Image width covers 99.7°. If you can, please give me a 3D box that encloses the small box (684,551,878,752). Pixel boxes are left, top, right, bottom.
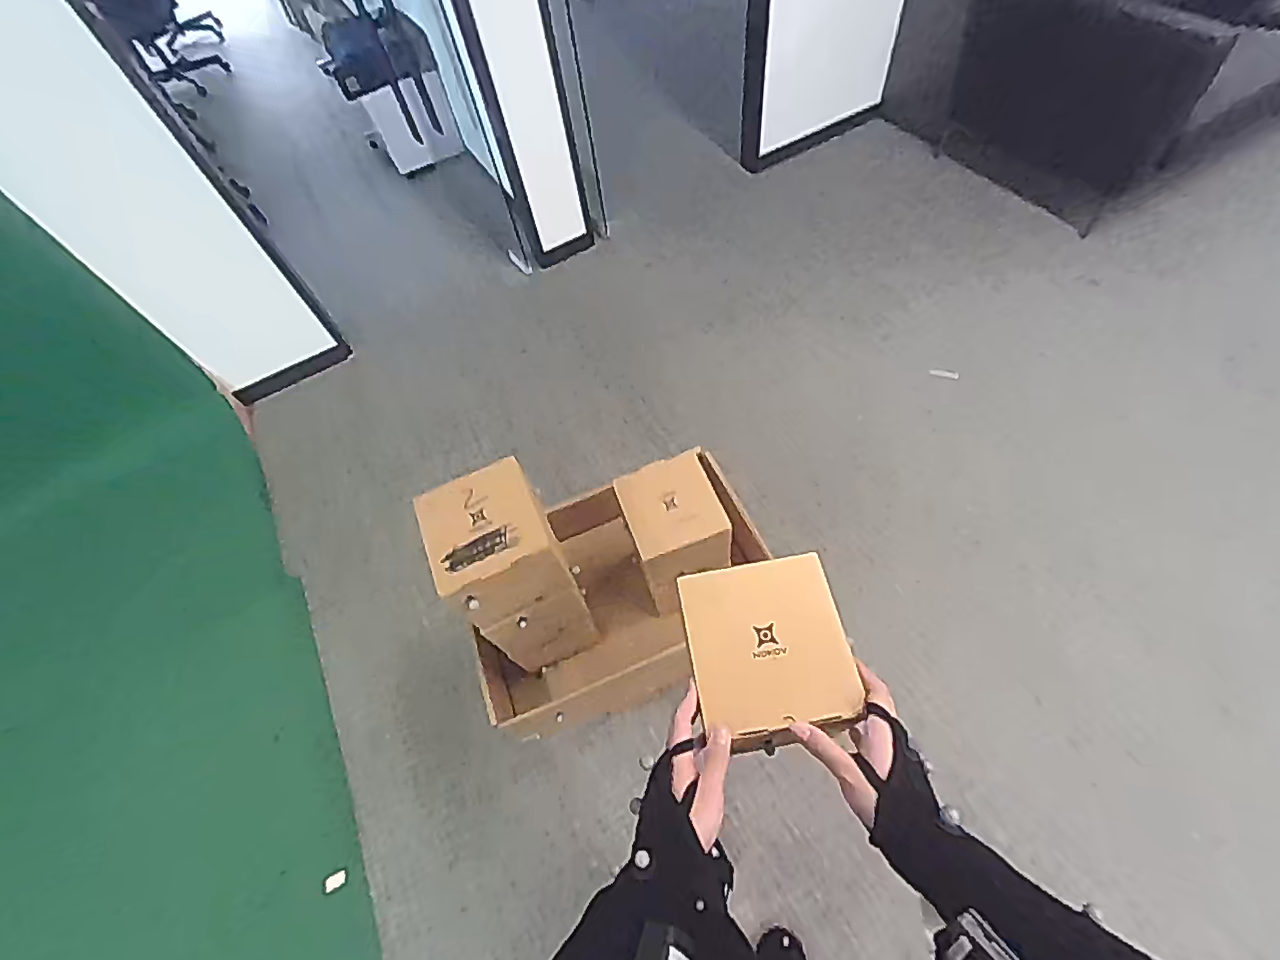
[{"bbox_3d":[0.146,0.206,0.634,0.168,0.176,0.179,-10,59,1],"label":"small box"}]

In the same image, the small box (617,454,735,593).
[{"bbox_3d":[0.066,0.085,1.012,0.168,0.176,0.179,-19,58,-5],"label":"small box"}]

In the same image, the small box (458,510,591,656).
[{"bbox_3d":[-0.204,0.191,0.979,0.168,0.176,0.179,-25,59,-8],"label":"small box"}]

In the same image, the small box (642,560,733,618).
[{"bbox_3d":[0.088,0.167,1.151,0.168,0.176,0.179,-19,58,-4],"label":"small box"}]
